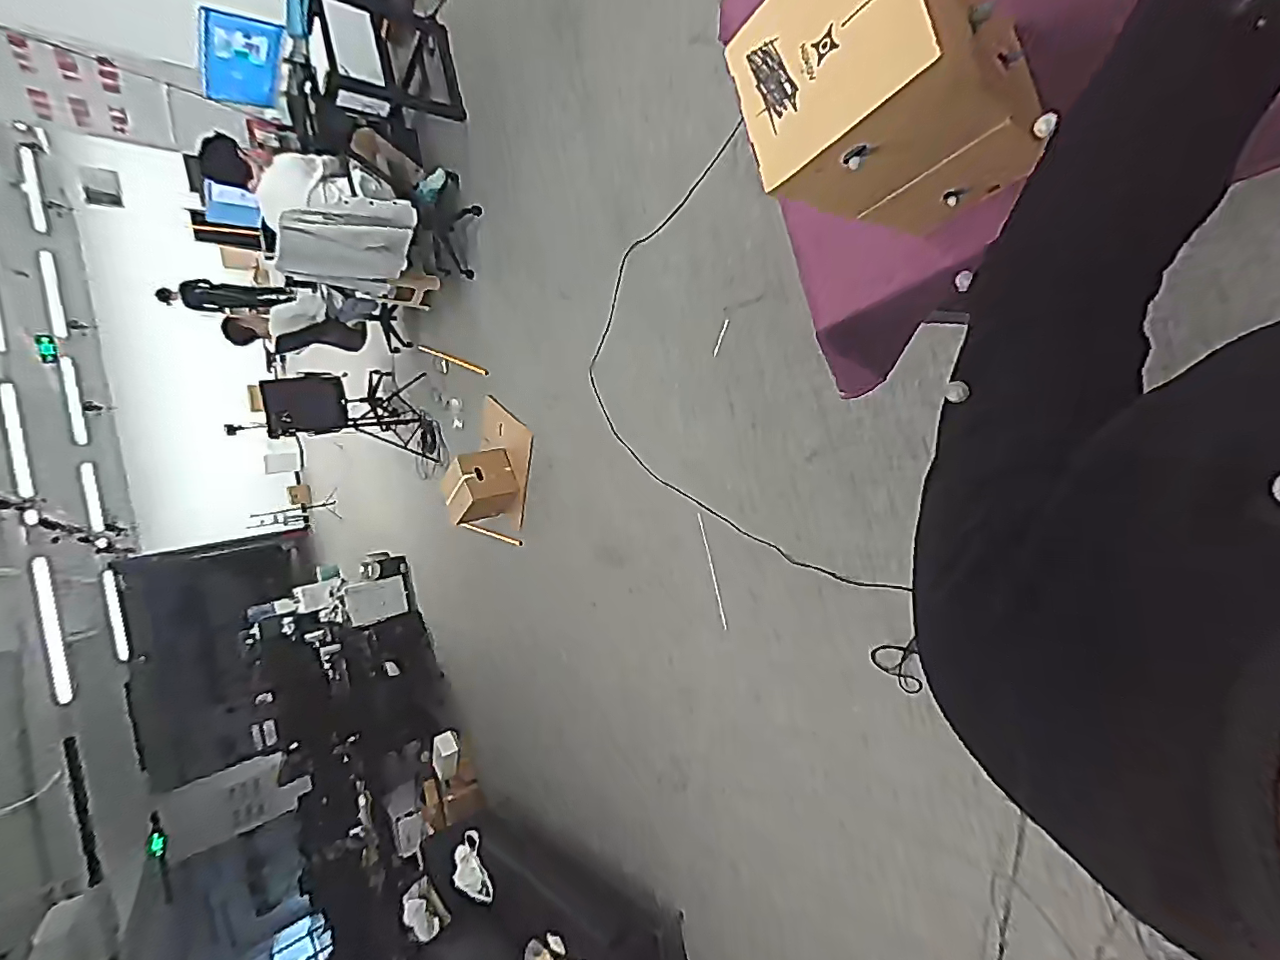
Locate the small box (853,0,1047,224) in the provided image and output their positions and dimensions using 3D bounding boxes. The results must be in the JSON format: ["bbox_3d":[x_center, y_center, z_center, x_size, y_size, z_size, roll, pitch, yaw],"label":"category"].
[{"bbox_3d":[0.348,-0.428,0.642,0.168,0.176,0.179,-18,84,50],"label":"small box"}]

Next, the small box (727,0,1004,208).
[{"bbox_3d":[0.221,-0.402,0.540,0.179,0.176,0.168,-19,84,50],"label":"small box"}]
